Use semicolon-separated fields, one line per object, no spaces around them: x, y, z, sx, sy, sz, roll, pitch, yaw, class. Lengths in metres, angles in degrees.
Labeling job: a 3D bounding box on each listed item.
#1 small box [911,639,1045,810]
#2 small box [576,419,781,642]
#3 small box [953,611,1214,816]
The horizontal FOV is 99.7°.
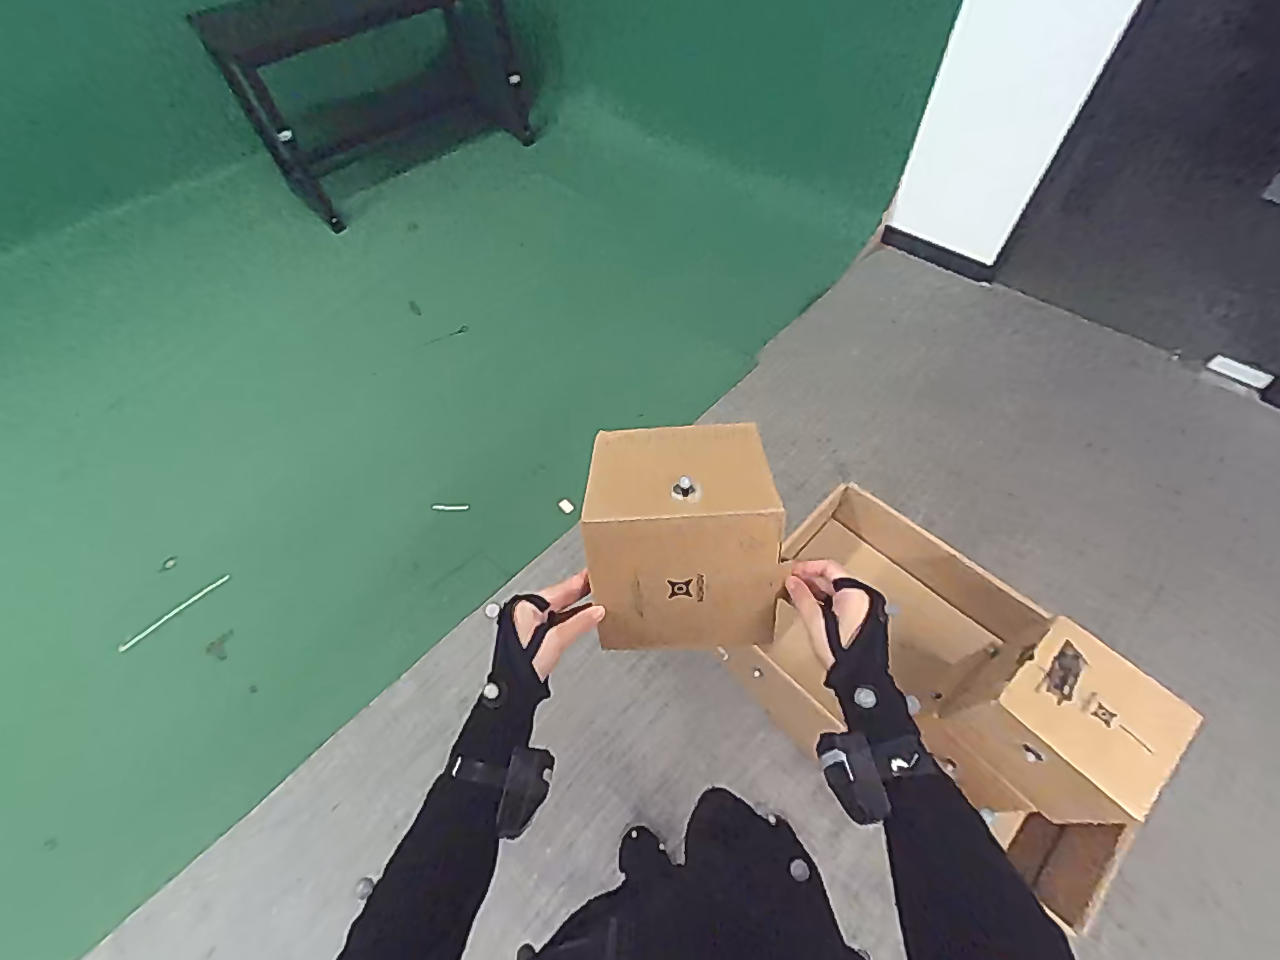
0.562;0.391;0.854;0.179;0.176;0.168;-36;61;-18;small box
0.038;0.046;0.561;0.179;0.168;0.176;-3;32;4;small box
0.559;0.311;0.710;0.168;0.176;0.179;-37;62;-18;small box
